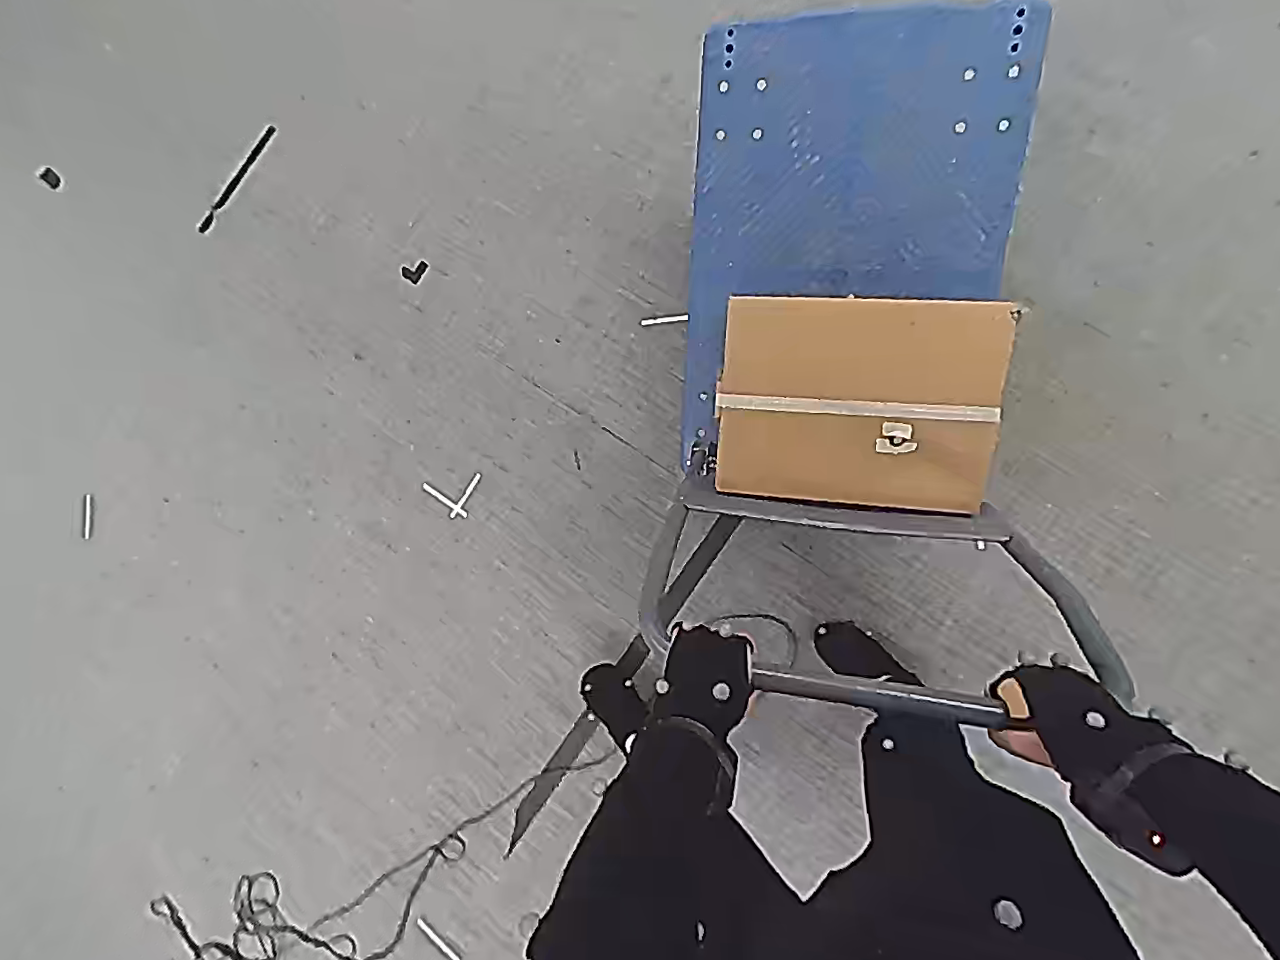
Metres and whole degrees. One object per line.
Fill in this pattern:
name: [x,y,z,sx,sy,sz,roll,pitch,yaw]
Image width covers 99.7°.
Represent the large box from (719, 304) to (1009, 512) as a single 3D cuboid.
large box: [0.358,-0.145,0.986,0.408,0.320,0.320,5,106,11]
